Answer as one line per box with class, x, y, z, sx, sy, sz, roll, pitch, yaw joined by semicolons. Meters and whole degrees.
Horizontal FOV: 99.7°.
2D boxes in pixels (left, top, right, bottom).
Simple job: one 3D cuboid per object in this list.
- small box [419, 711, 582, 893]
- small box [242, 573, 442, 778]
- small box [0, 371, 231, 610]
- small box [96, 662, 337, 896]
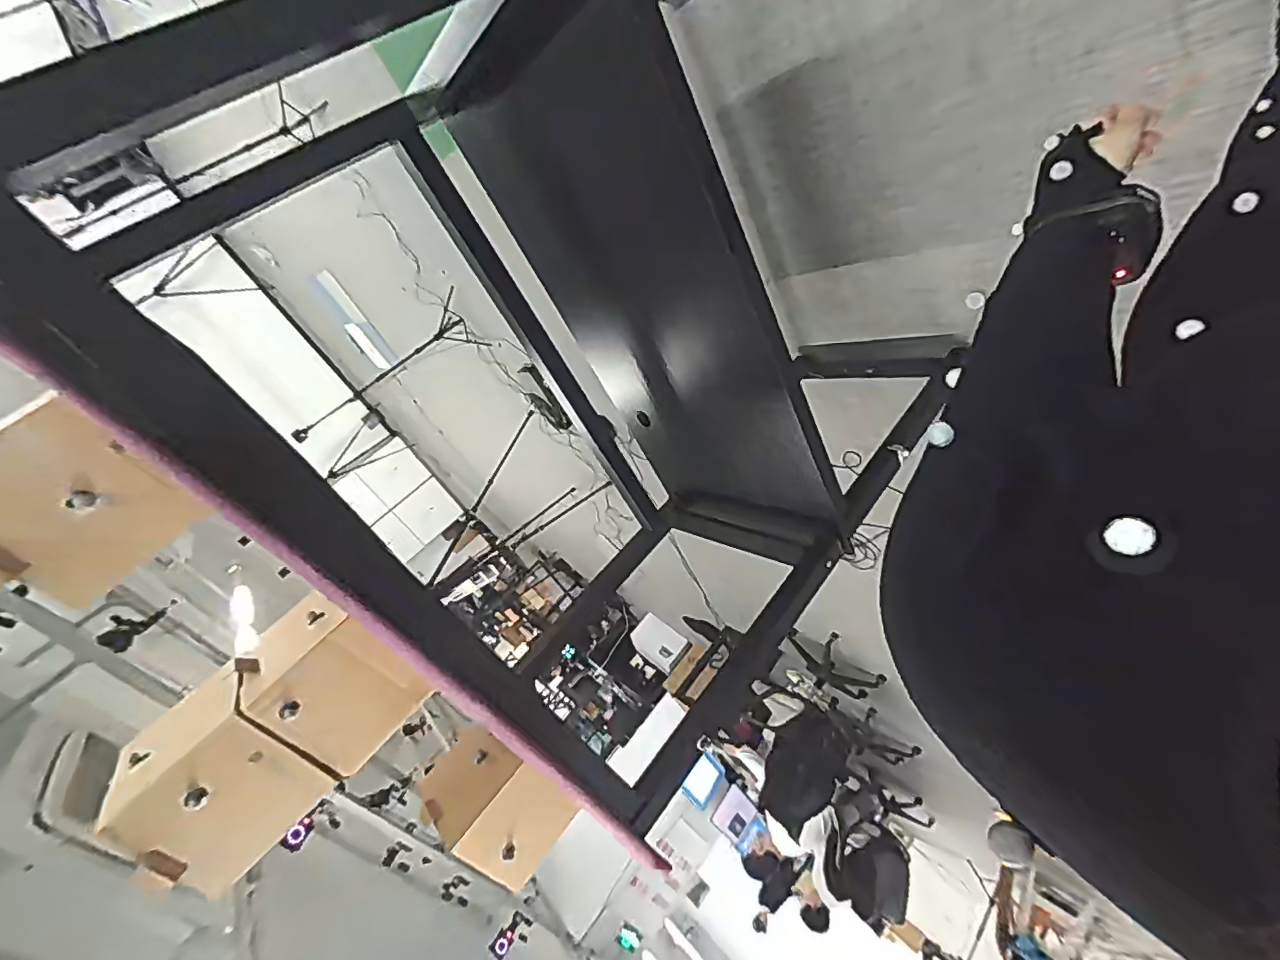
small box;-0.231;0.535;0.918;0.168;0.176;0.179;11;141;51
small box;-0.411;0.264;0.758;0.168;0.176;0.179;15;144;53
small box;-0.586;0.001;0.582;0.179;0.176;0.168;21;150;47
small box;-0.521;0.366;0.697;0.179;0.176;0.168;14;141;55
